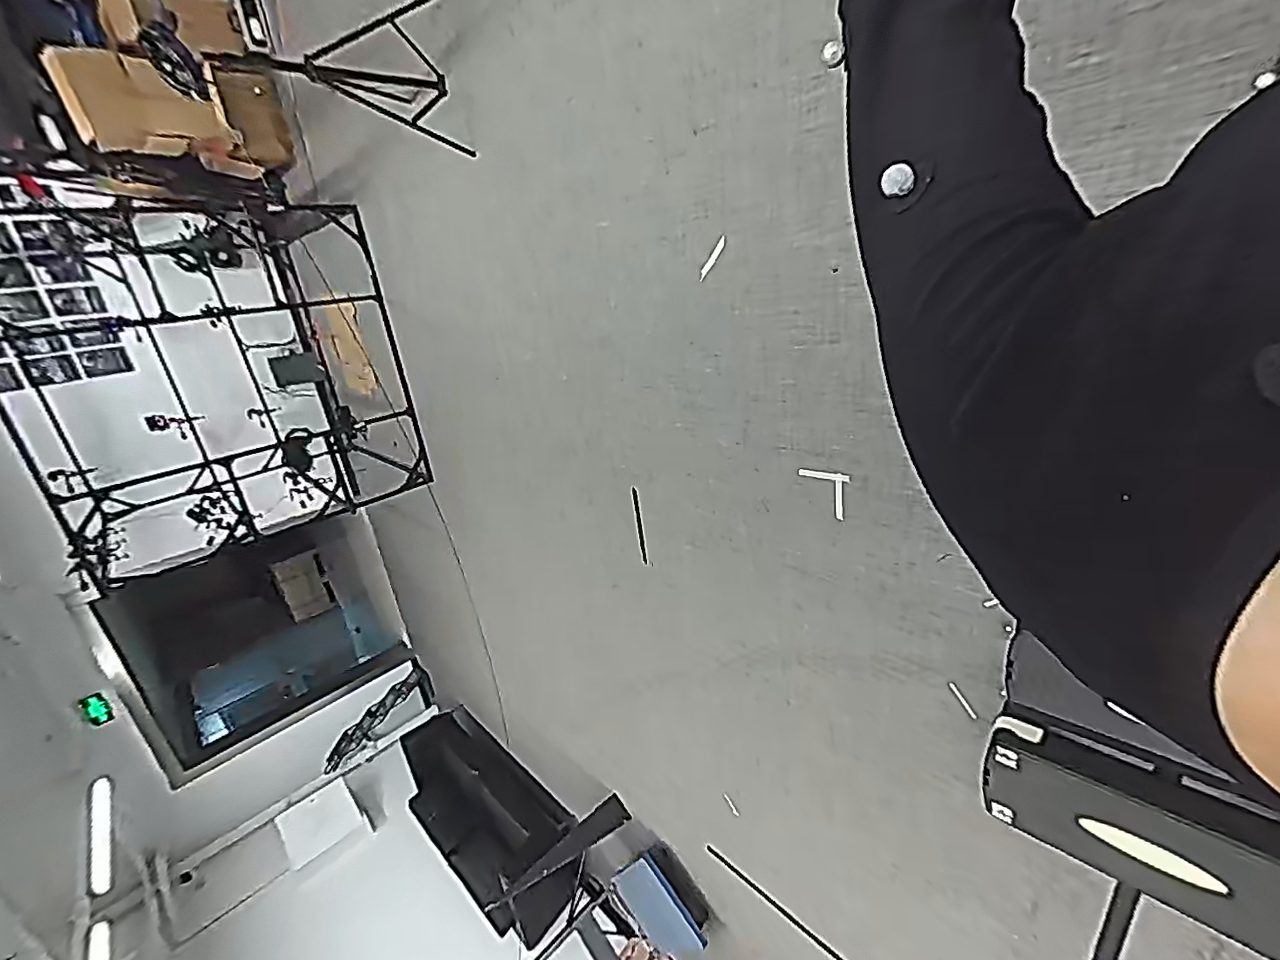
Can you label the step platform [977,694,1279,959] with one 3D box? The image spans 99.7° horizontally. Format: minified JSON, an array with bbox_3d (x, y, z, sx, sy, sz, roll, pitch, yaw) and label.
[{"bbox_3d":[1.211,0.805,1.299,0.684,0.204,0.286,12,118,47],"label":"step platform"}]
